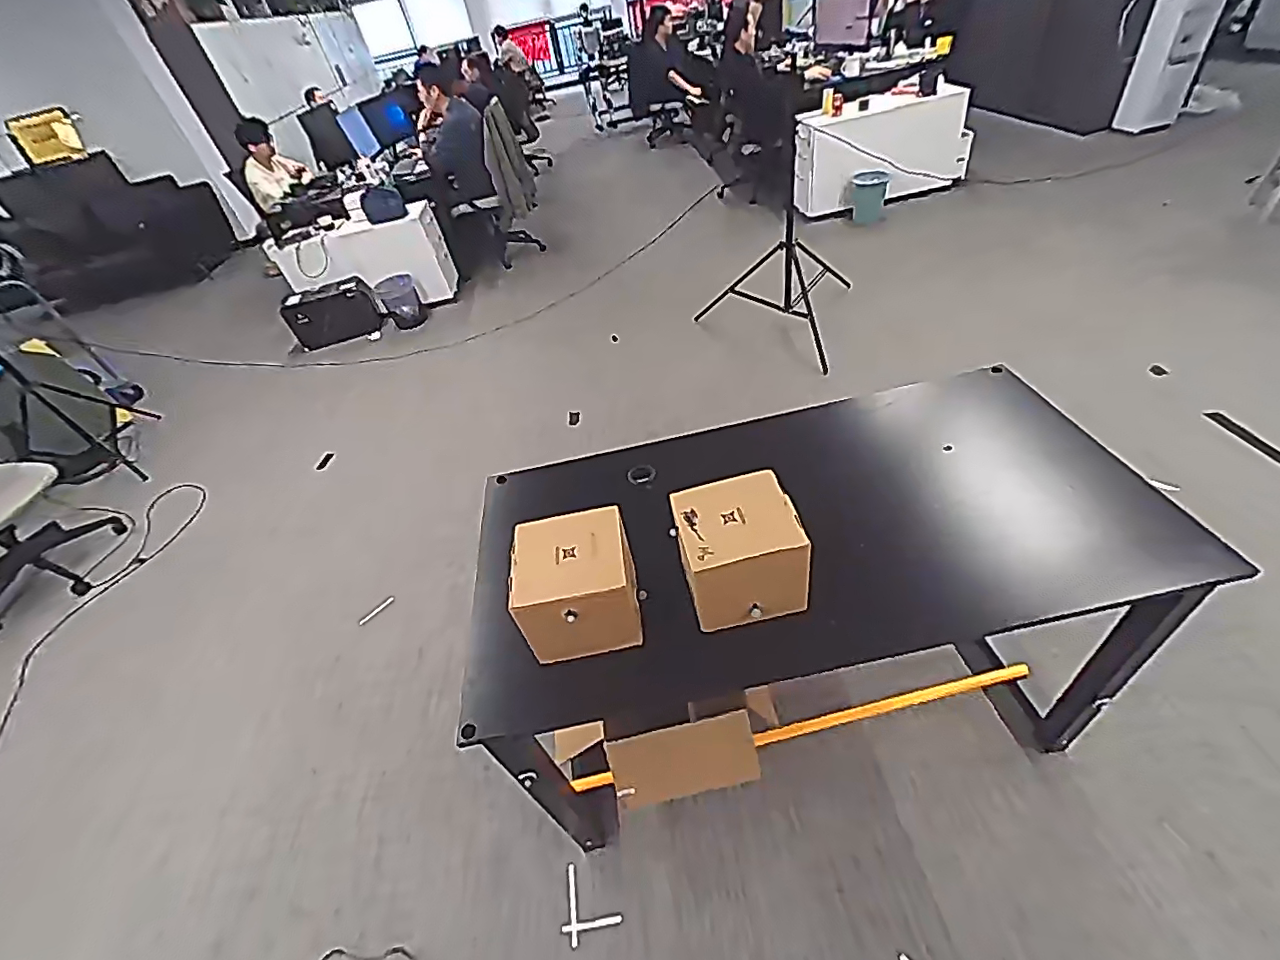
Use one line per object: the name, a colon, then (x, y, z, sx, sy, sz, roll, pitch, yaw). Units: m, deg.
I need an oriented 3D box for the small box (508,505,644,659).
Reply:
small box: (-0.100, 0.170, 0.879, 0.179, 0.176, 0.168, -11, 44, 1)

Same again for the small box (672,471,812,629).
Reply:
small box: (0.158, 0.115, 0.872, 0.179, 0.176, 0.168, -13, 42, -1)
